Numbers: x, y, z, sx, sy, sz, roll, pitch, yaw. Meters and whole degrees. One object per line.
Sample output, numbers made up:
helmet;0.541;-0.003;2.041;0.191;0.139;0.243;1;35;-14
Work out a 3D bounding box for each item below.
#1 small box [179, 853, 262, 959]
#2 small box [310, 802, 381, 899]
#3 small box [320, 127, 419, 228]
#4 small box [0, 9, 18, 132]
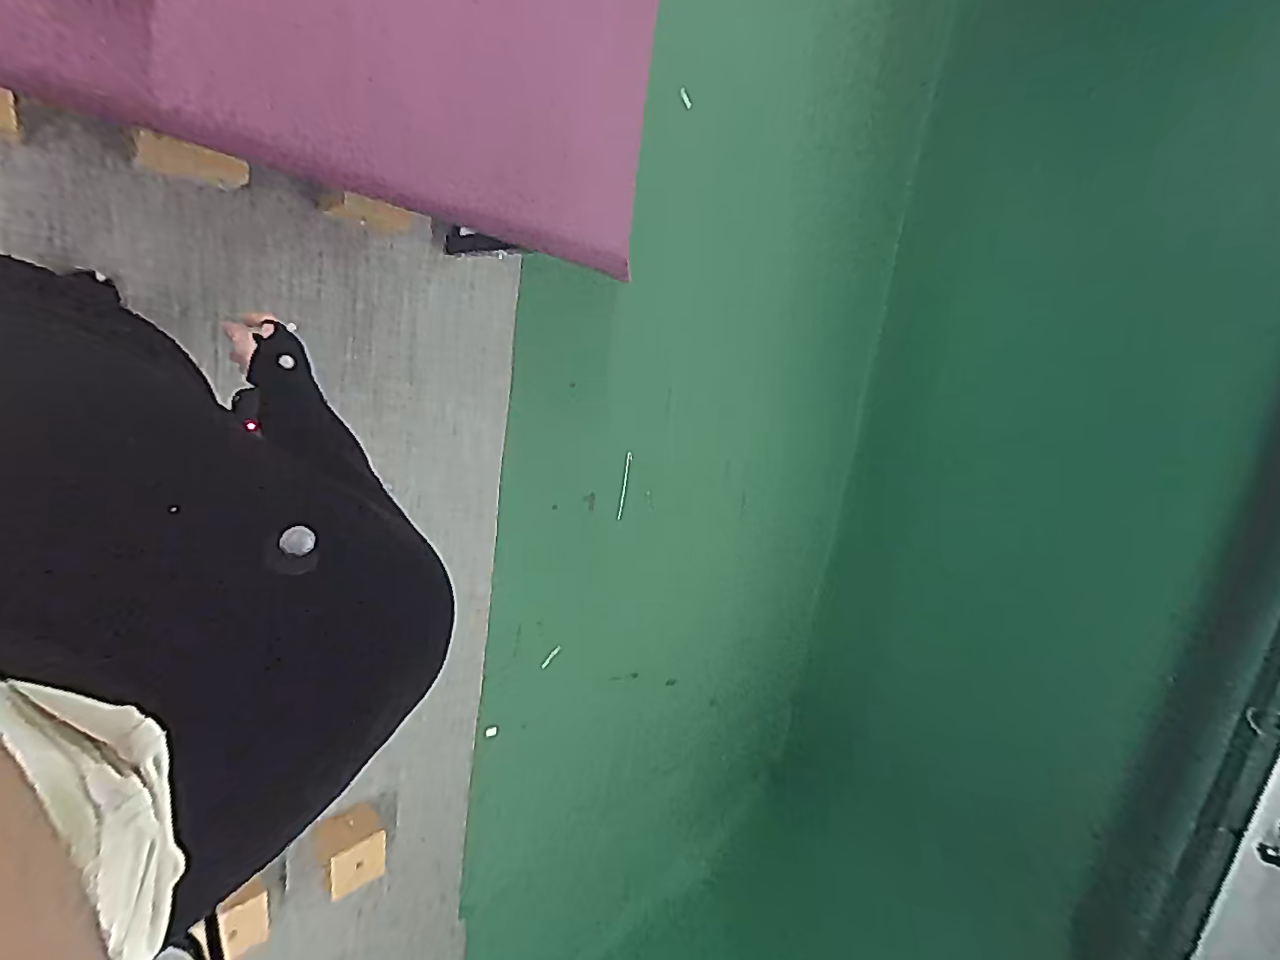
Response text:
small box;-1.201;1.231;1.549;0.168;0.176;0.179;-6;108;-47
small box;-0.975;1.208;1.785;0.168;0.176;0.179;-5;108;-46
small box;-0.685;-0.749;1.363;0.179;0.176;0.168;-1;105;-47
small box;-1.153;-0.694;0.876;0.179;0.176;0.168;-6;108;-47
